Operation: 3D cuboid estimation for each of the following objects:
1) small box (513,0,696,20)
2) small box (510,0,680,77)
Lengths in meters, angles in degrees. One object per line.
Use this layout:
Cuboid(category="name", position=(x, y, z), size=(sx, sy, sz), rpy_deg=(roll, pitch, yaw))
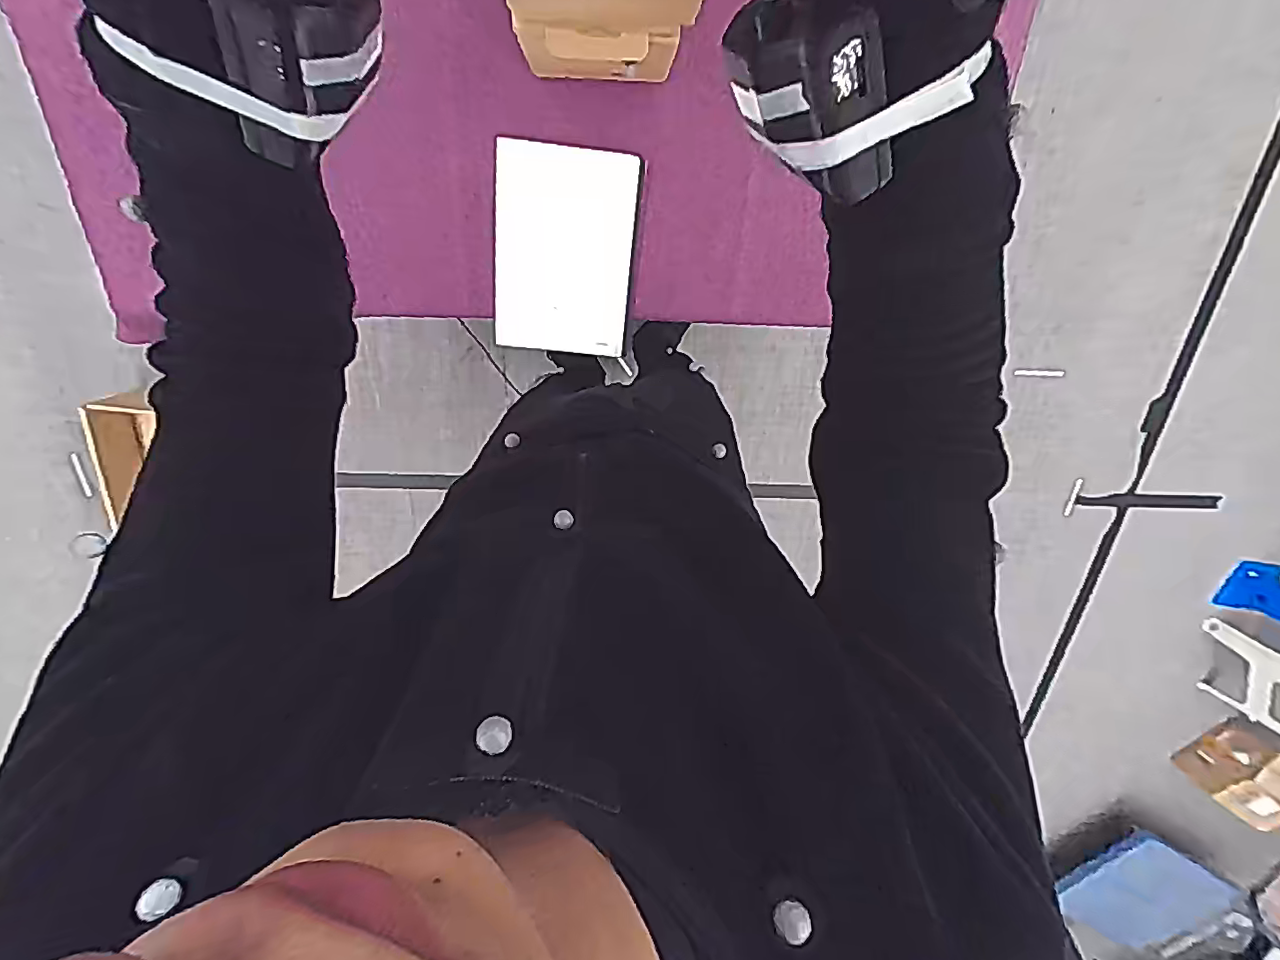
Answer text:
Cuboid(category="small box", position=(-0.029, -0.478, 0.407), size=(0.179, 0.176, 0.168), rpy_deg=(-1, 115, -4))
Cuboid(category="small box", position=(-0.042, -0.542, 0.558), size=(0.168, 0.176, 0.179), rpy_deg=(1, 114, -4))
